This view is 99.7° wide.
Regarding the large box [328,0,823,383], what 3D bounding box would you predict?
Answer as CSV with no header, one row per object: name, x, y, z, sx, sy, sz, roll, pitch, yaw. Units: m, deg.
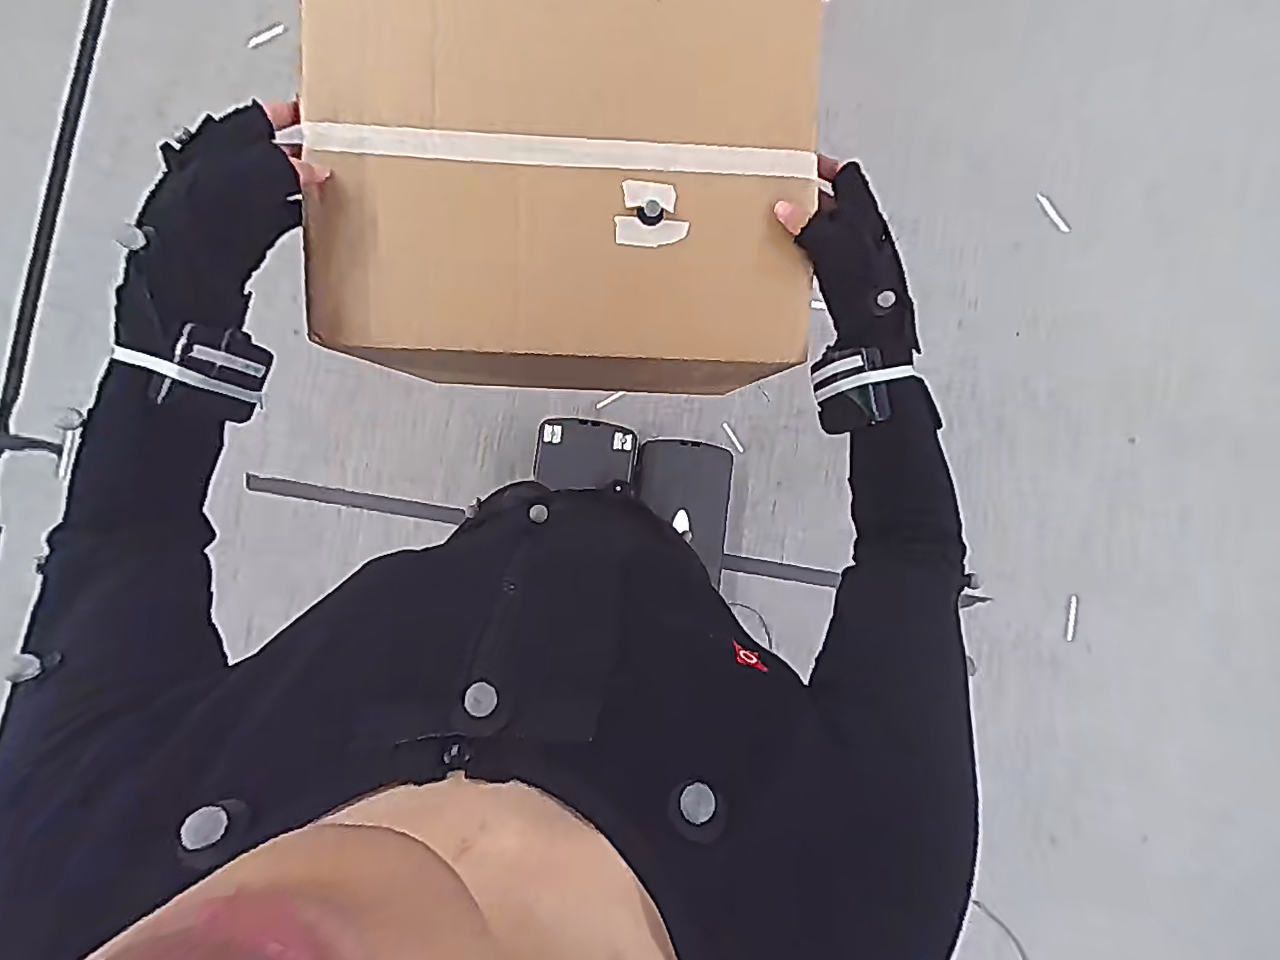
large box,-0.061,-0.281,0.590,0.408,0.320,0.320,2,95,-4

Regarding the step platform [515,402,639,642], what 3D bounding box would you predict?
step platform,-0.179,0.117,1.577,0.286,0.204,0.684,7,86,-2
